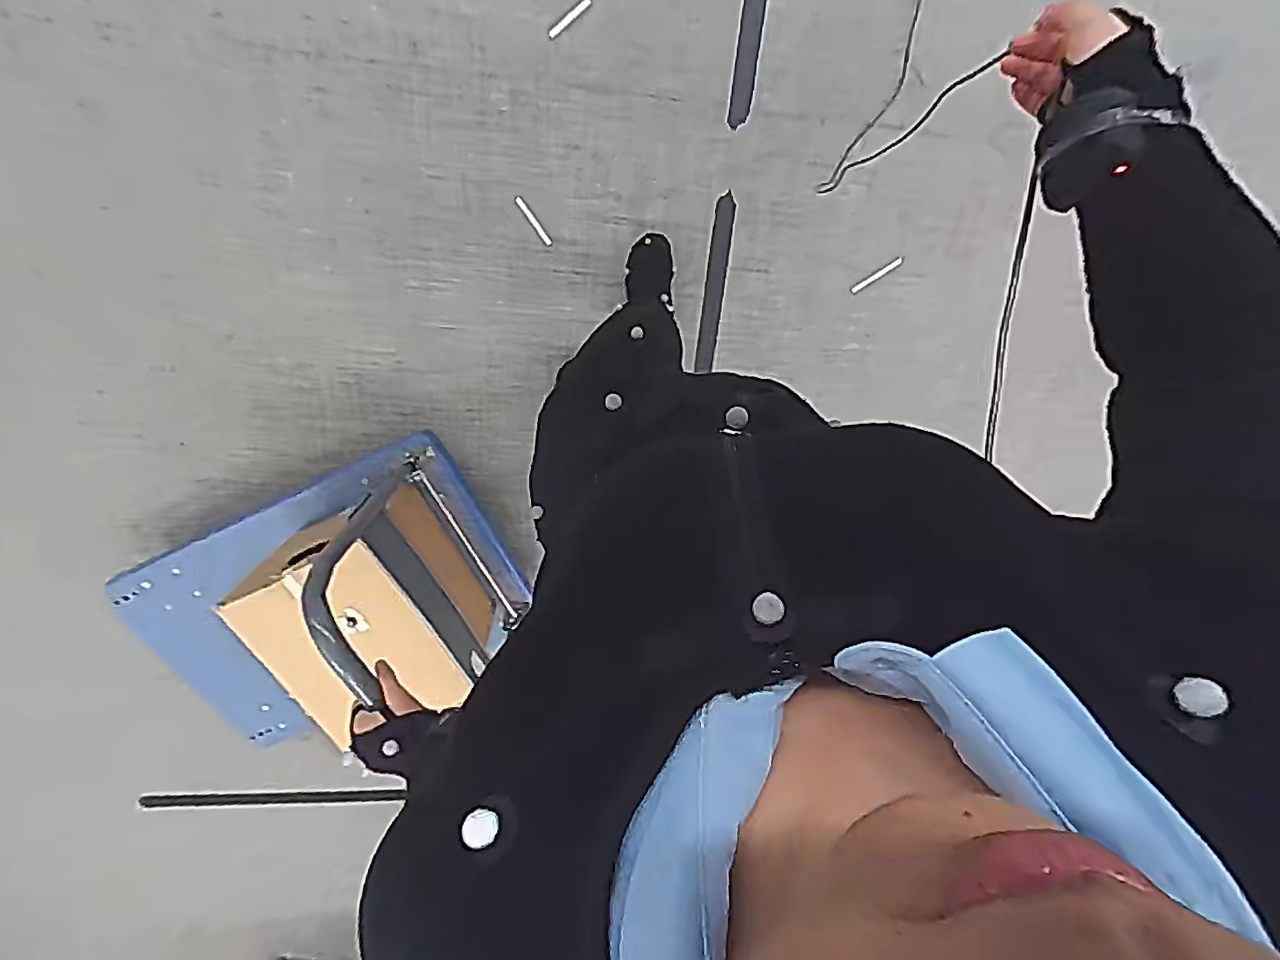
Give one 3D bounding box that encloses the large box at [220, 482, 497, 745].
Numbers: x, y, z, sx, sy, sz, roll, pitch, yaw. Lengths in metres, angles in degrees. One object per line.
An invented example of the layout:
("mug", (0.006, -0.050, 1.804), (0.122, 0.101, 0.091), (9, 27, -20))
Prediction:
("large box", (-0.568, 0.278, 1.191), (0.320, 0.320, 0.408), (-26, 110, 2))
